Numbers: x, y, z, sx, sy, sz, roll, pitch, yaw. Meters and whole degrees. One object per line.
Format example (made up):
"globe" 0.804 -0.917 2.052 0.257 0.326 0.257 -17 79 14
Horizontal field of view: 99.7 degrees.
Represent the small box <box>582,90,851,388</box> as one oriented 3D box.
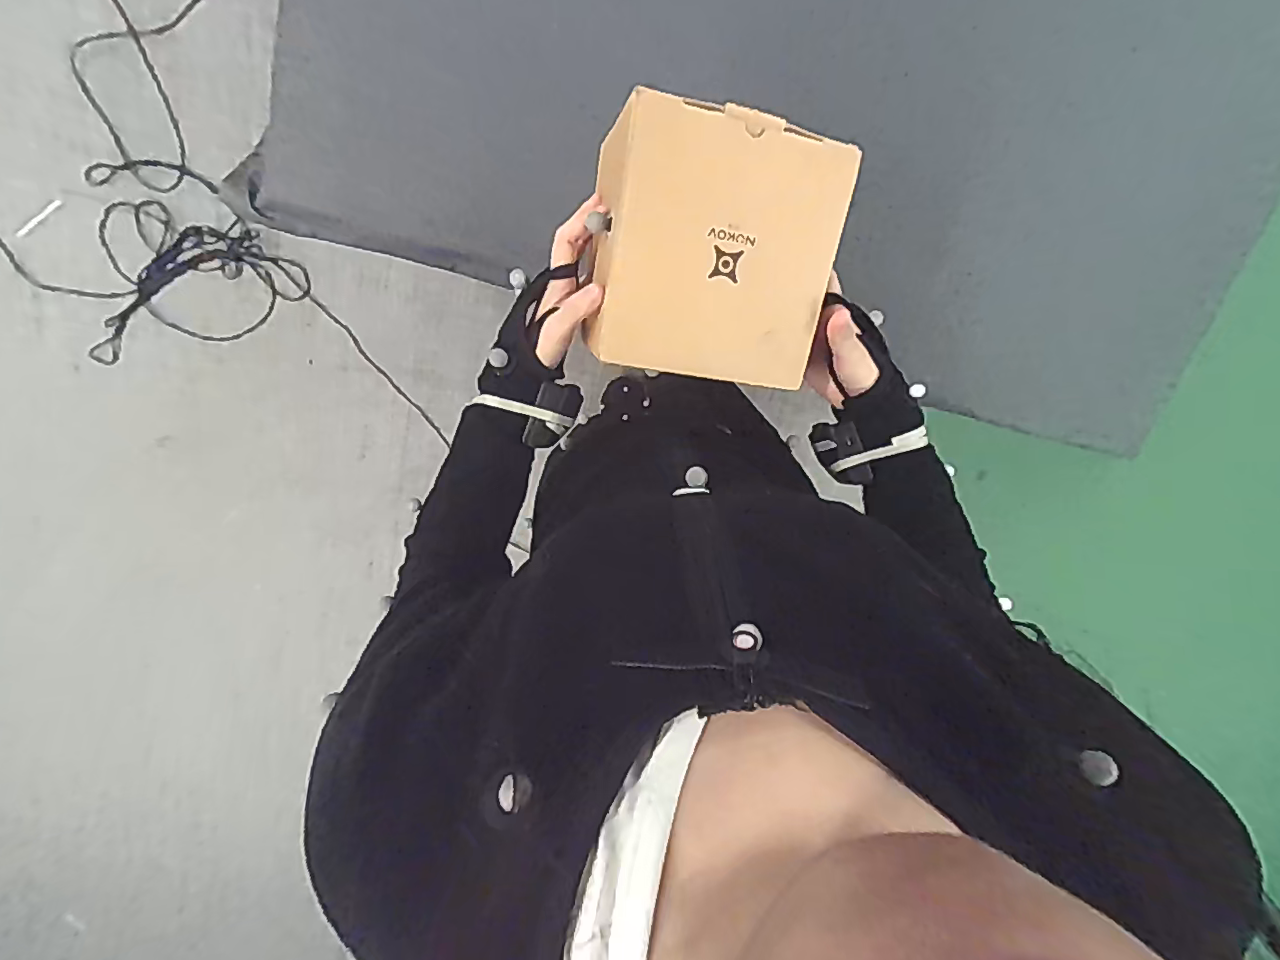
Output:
"small box" 0.044 -0.189 0.465 0.168 0.176 0.179 5 108 -13
